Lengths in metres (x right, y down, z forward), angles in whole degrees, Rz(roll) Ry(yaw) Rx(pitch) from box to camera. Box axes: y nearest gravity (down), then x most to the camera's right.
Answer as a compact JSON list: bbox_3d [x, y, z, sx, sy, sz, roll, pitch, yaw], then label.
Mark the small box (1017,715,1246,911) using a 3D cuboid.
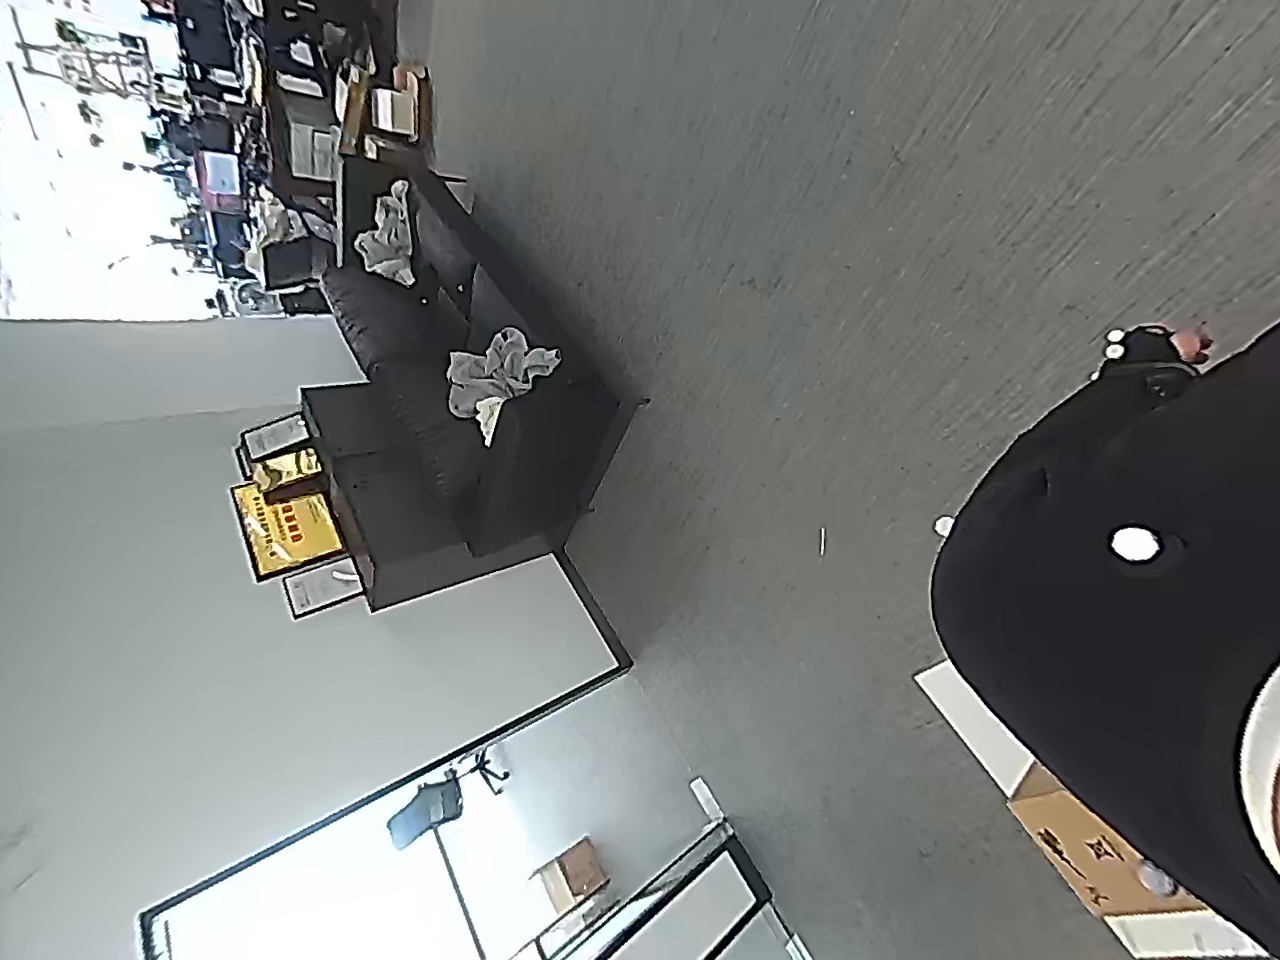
[{"bbox_3d":[0.710,0.476,0.788,0.168,0.176,0.179,54,138,25],"label":"small box"}]
